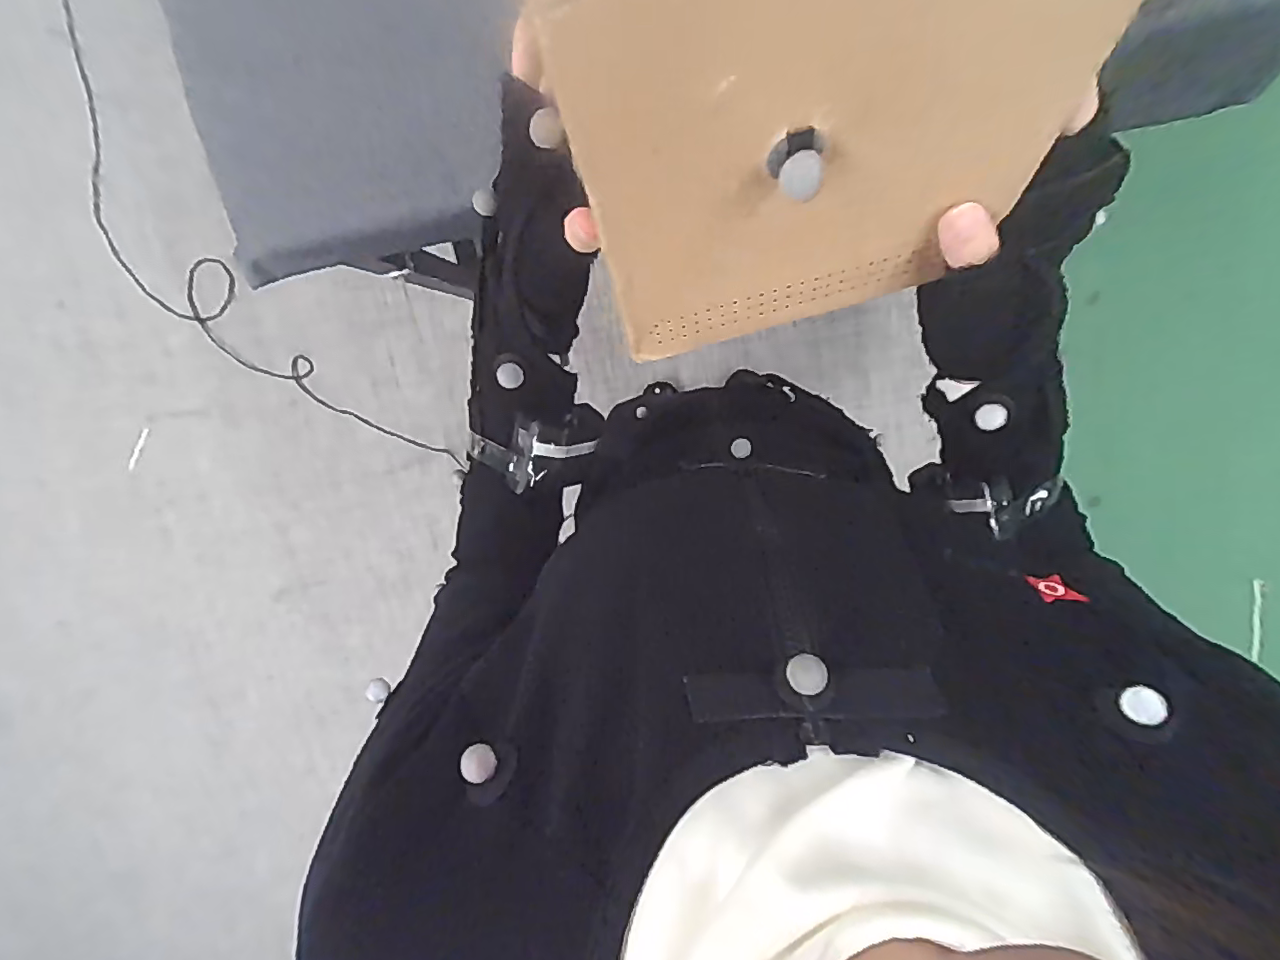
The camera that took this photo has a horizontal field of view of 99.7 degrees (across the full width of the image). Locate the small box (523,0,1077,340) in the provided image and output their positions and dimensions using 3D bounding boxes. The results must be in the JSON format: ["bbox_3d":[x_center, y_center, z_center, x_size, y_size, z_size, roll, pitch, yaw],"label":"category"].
[{"bbox_3d":[0.051,-0.186,0.230,0.179,0.176,0.168,-16,70,4],"label":"small box"}]
